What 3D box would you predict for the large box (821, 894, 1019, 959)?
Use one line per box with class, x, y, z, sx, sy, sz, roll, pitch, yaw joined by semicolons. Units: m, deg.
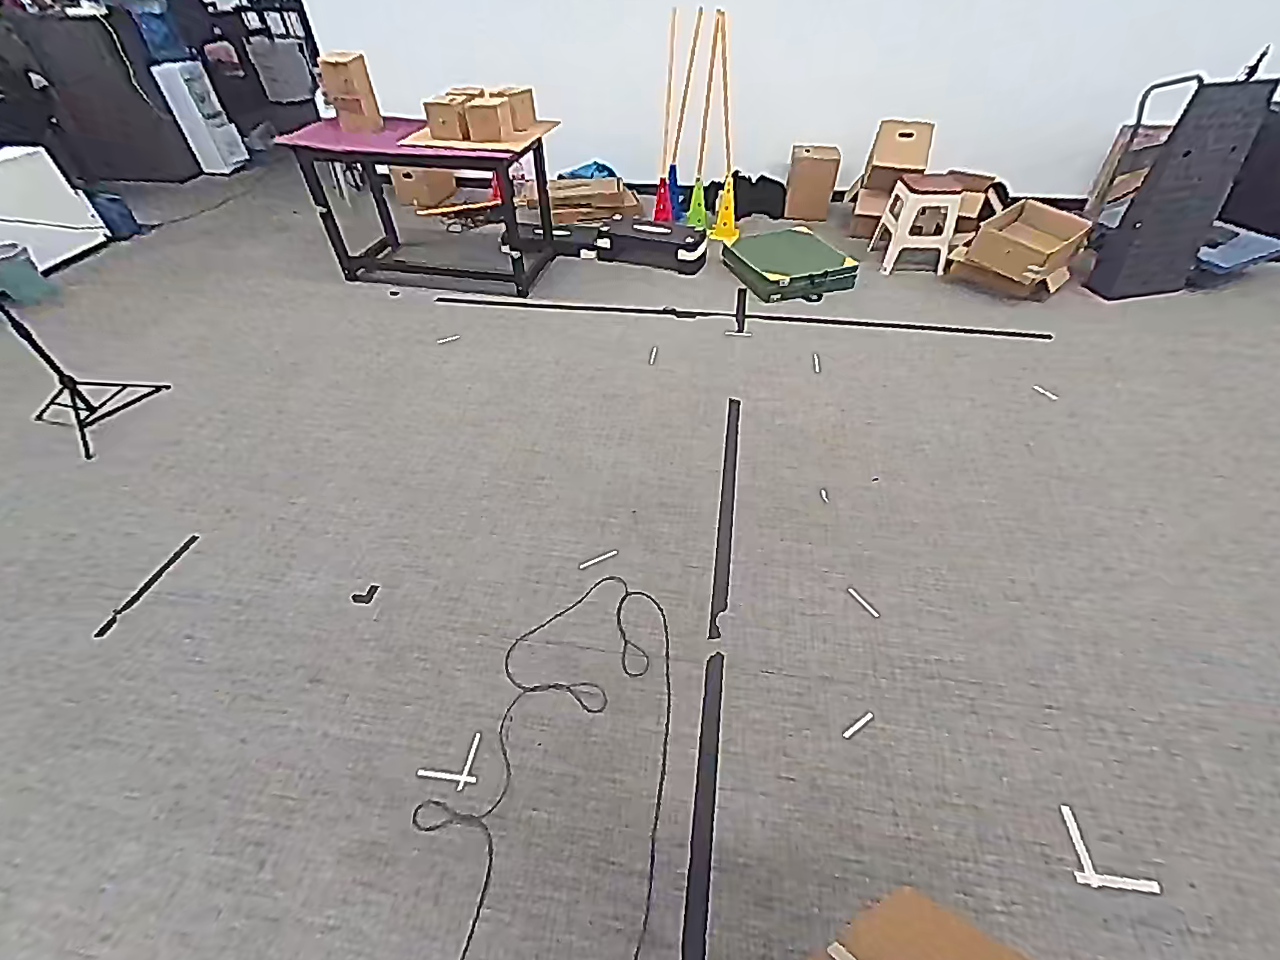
large box;0.405;0.791;0.612;0.320;0.408;0.320;-24;79;-17
